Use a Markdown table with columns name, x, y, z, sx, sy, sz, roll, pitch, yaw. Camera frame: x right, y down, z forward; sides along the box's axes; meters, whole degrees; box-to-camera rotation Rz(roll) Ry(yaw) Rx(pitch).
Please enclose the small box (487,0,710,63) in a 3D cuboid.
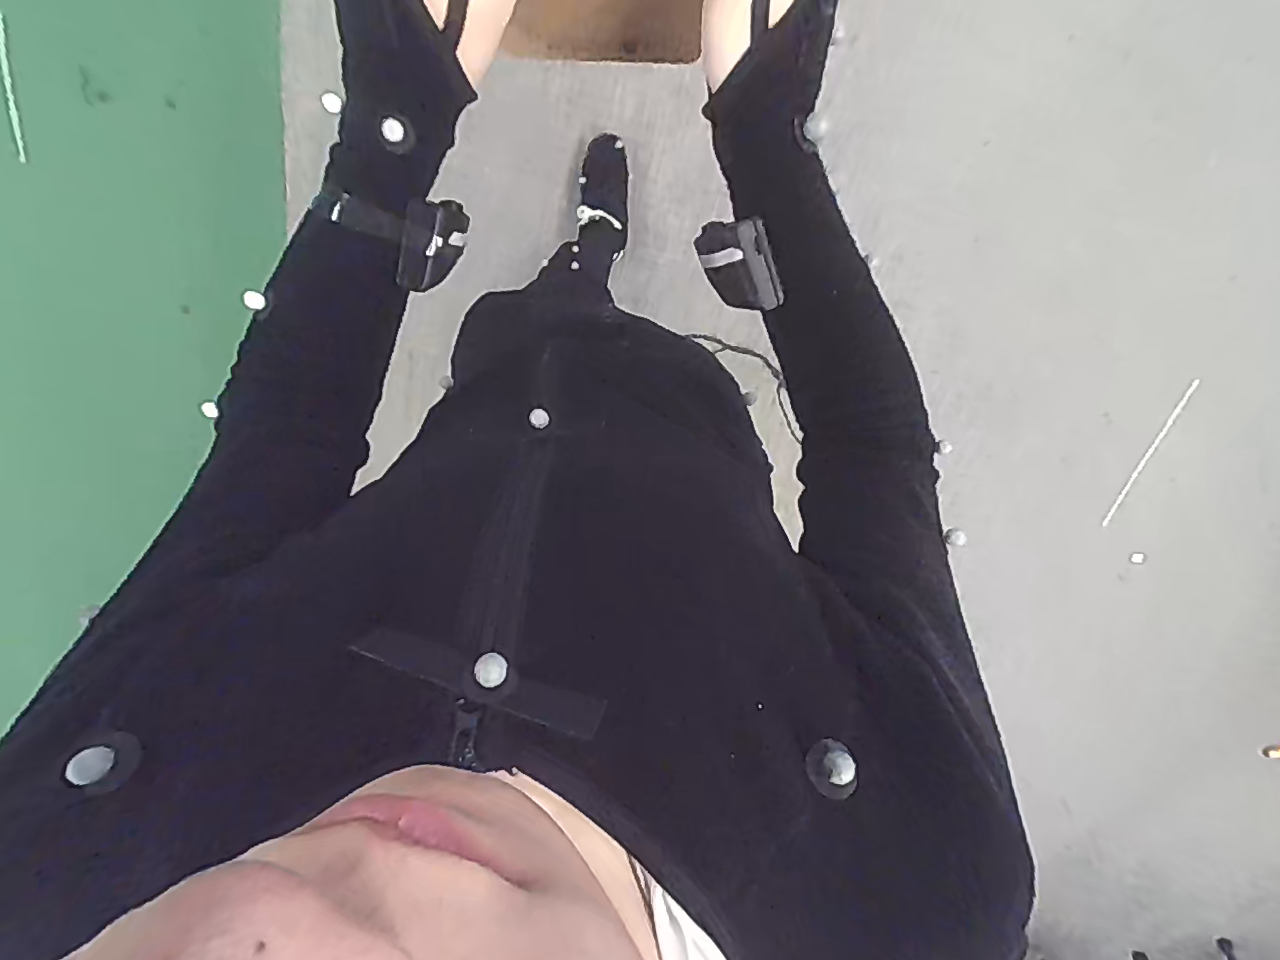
| name | x | y | z | sx | sy | sz | roll | pitch | yaw |
| --- | --- | --- | --- | --- | --- | --- | --- | --- | --- |
| small box | -0.028 | -0.415 | 0.341 | 0.168 | 0.176 | 0.179 | 0 | 98 | -5 |
